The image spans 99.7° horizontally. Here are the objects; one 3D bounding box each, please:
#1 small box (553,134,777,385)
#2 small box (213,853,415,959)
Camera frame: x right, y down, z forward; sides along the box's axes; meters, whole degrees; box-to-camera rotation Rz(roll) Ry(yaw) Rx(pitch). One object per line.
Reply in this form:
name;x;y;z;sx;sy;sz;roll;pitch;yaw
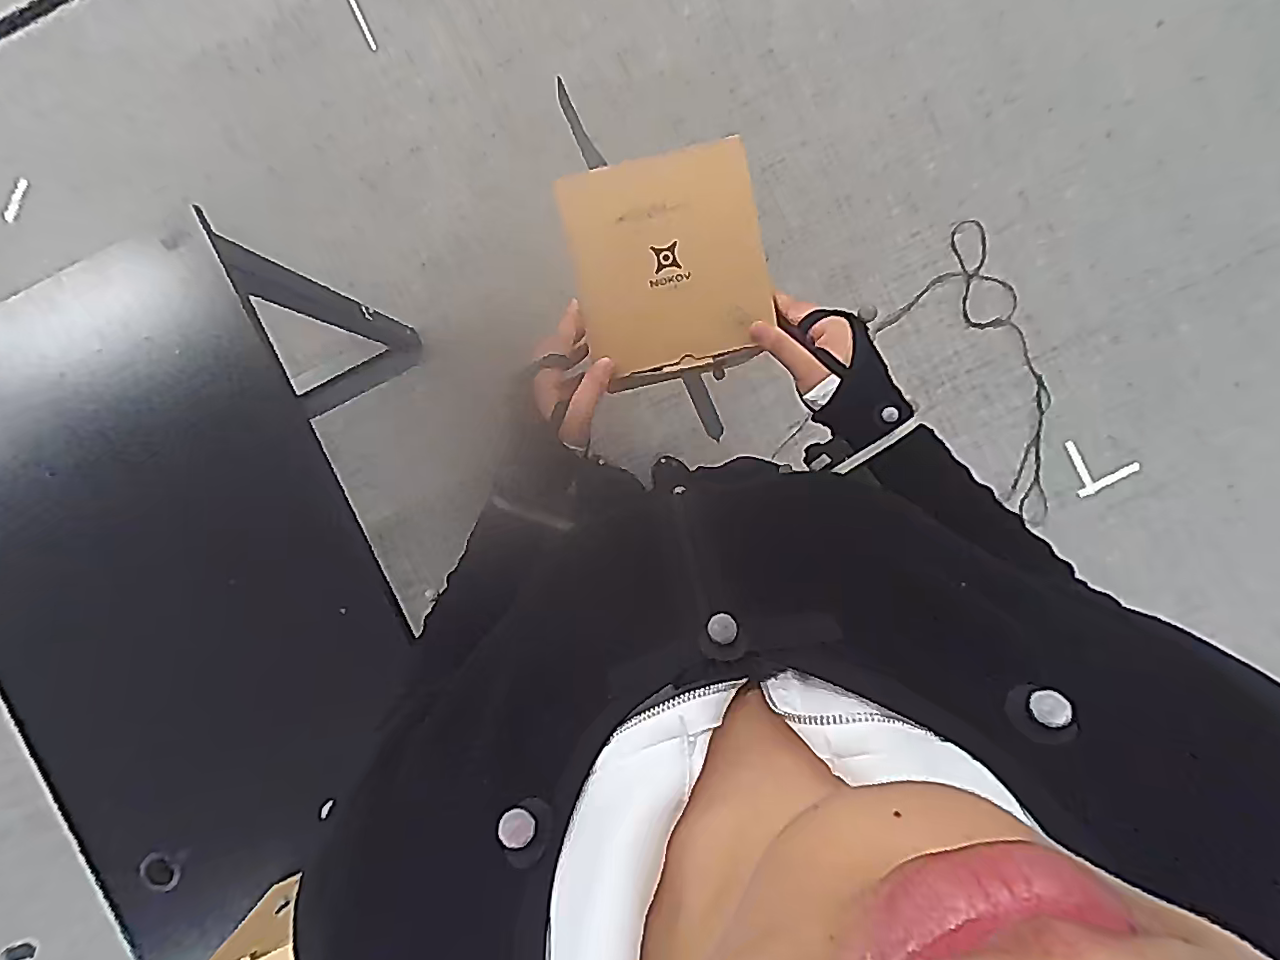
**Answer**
small box;0.024;-0.196;0.539;0.168;0.176;0.179;-13;96;1
small box;-0.443;0.652;0.731;0.168;0.176;0.179;-27;92;3
